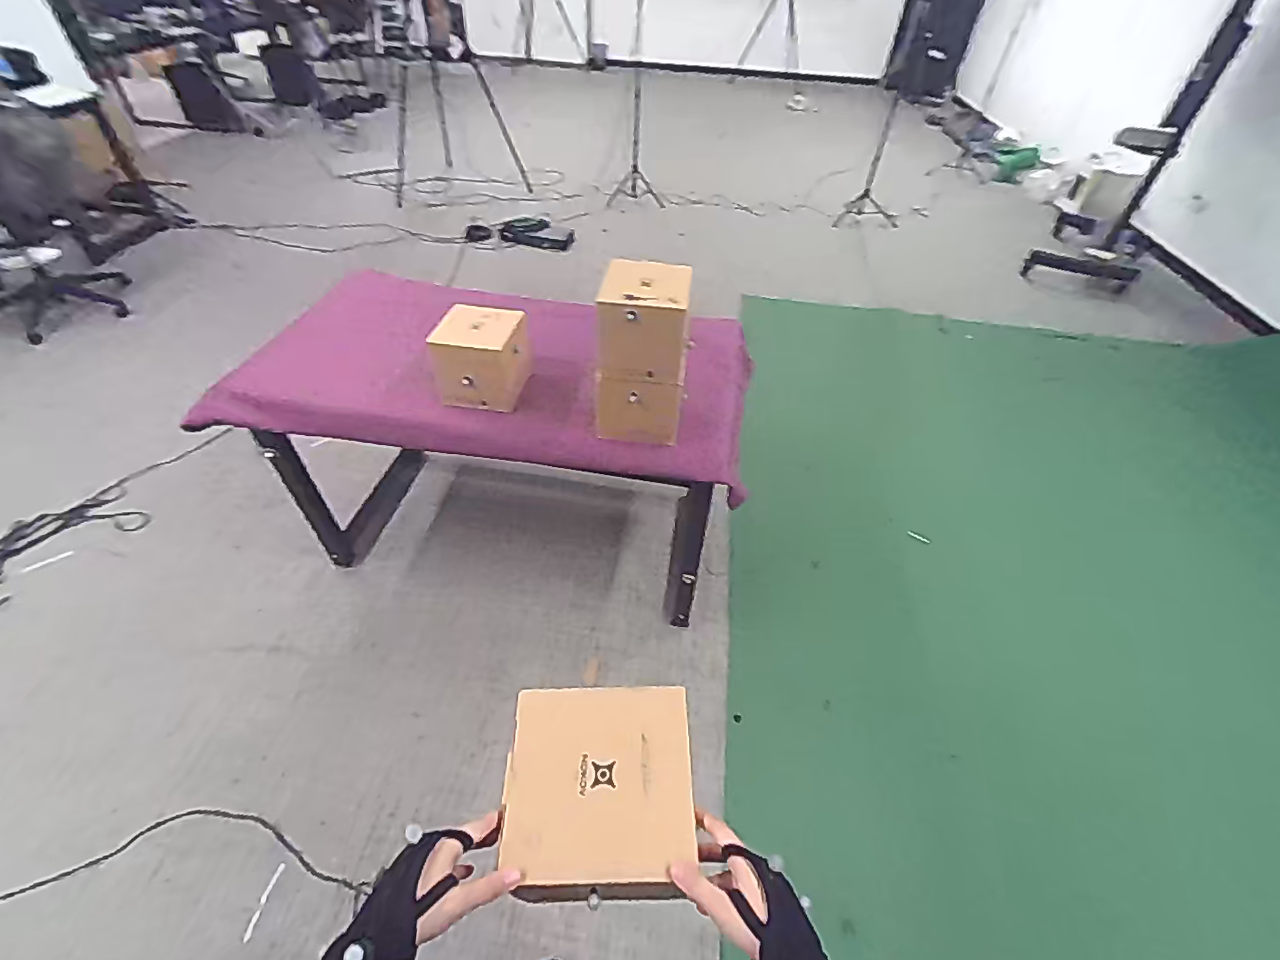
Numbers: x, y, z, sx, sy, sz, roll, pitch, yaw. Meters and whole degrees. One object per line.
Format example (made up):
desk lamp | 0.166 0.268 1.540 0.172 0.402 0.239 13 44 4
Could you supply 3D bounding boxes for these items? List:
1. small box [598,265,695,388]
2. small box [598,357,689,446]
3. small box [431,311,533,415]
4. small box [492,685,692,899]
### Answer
small box | 0.016 -0.307 1.078 0.168 0.176 0.179 5 46 6
small box | 0.011 -0.191 1.194 0.179 0.176 0.168 5 46 5
small box | -0.356 -0.270 1.259 0.168 0.176 0.179 7 44 5
small box | -0.038 0.331 0.570 0.179 0.176 0.168 -2 48 1
